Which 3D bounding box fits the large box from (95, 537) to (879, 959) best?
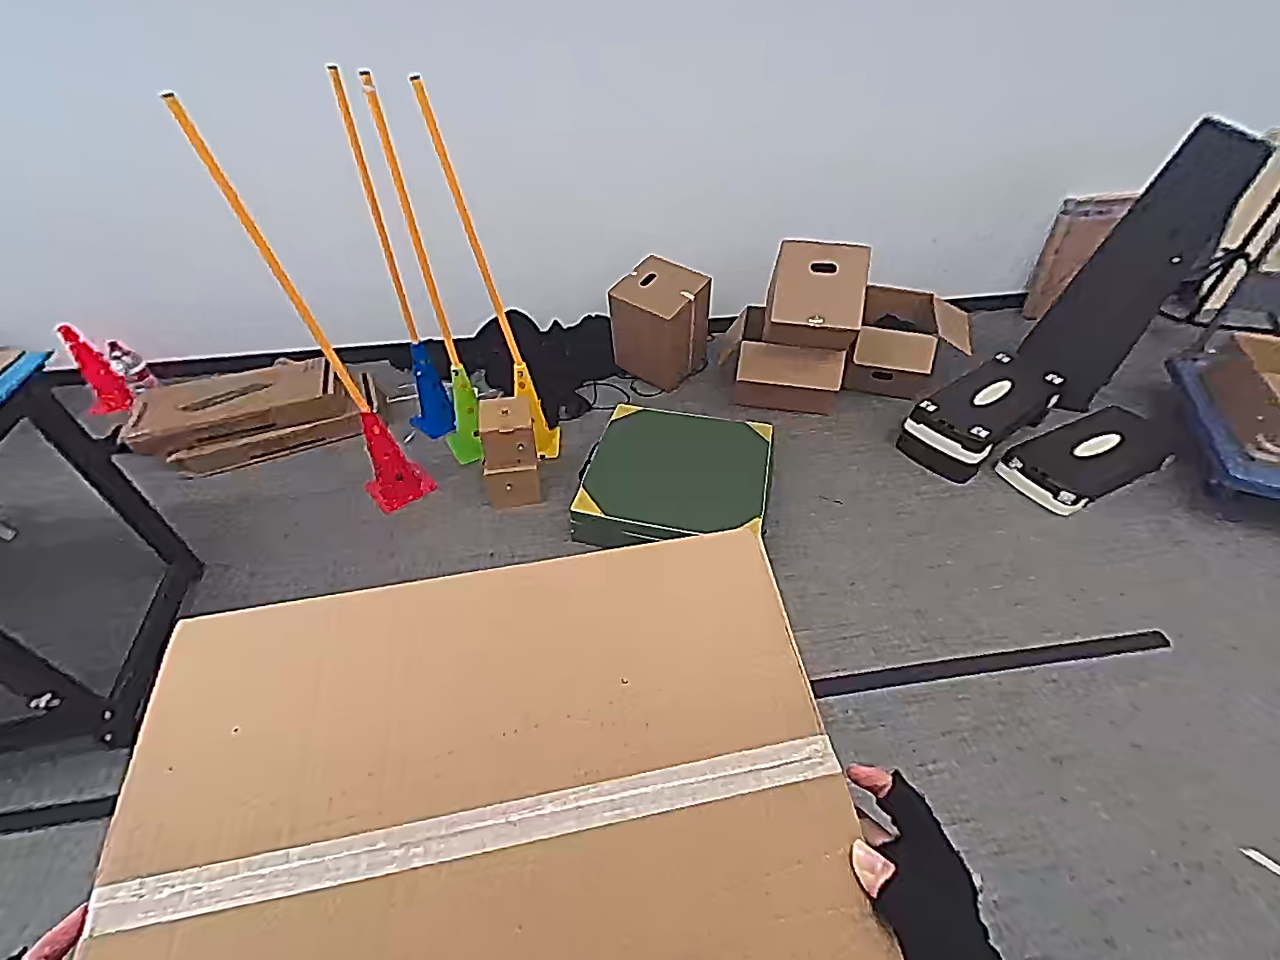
[{"bbox_3d":[-0.087,0.278,0.437,0.408,0.320,0.320,-8,56,-5],"label":"large box"}]
